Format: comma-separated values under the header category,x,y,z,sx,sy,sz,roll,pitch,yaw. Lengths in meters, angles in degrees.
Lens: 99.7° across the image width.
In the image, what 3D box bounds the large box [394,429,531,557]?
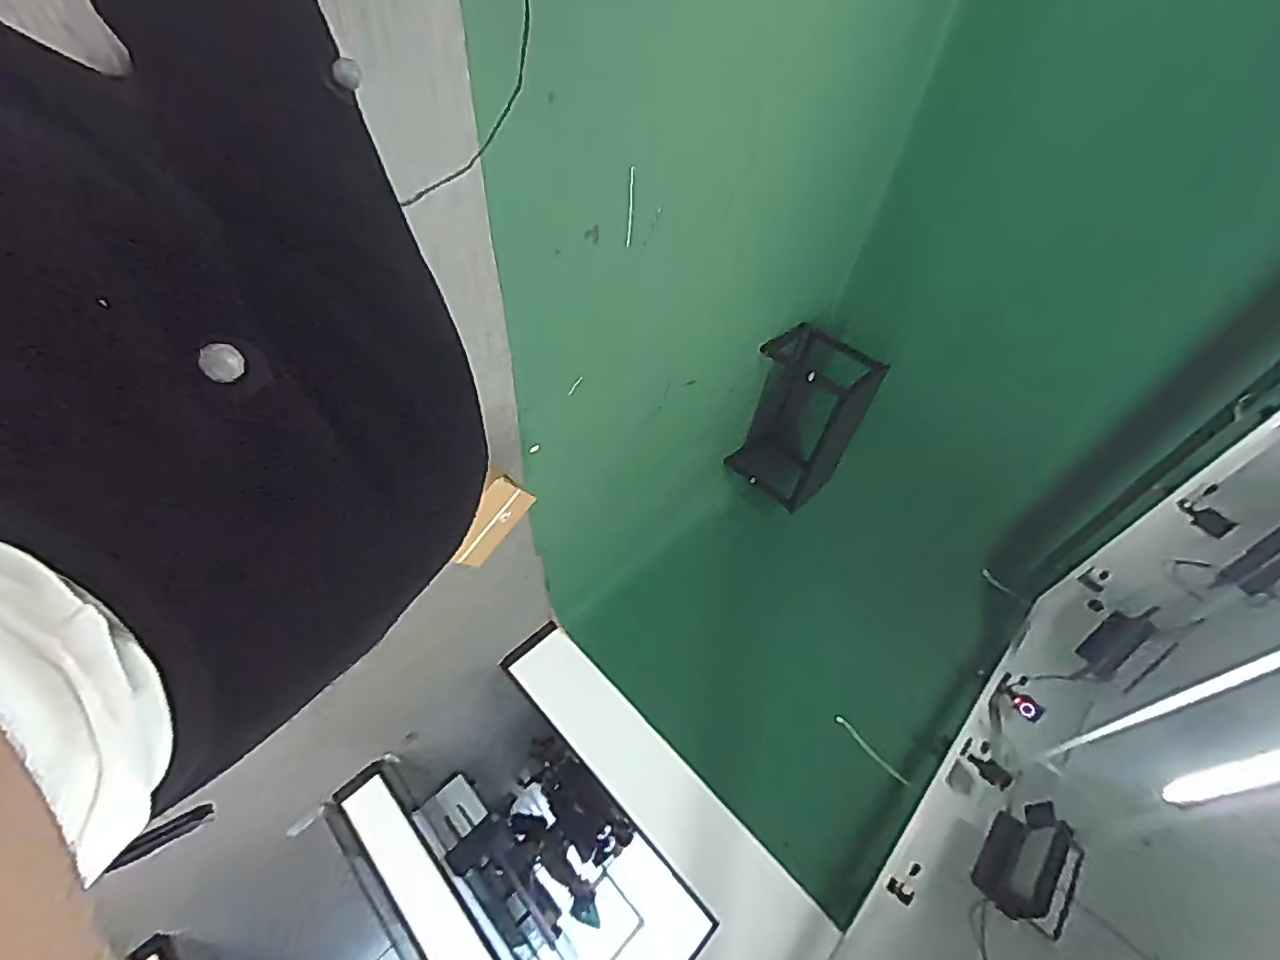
category,x,y,z,sx,sy,sz,roll,pitch,yaw
large box,-0.757,0.063,2.319,0.408,0.320,0.320,-51,156,-1
